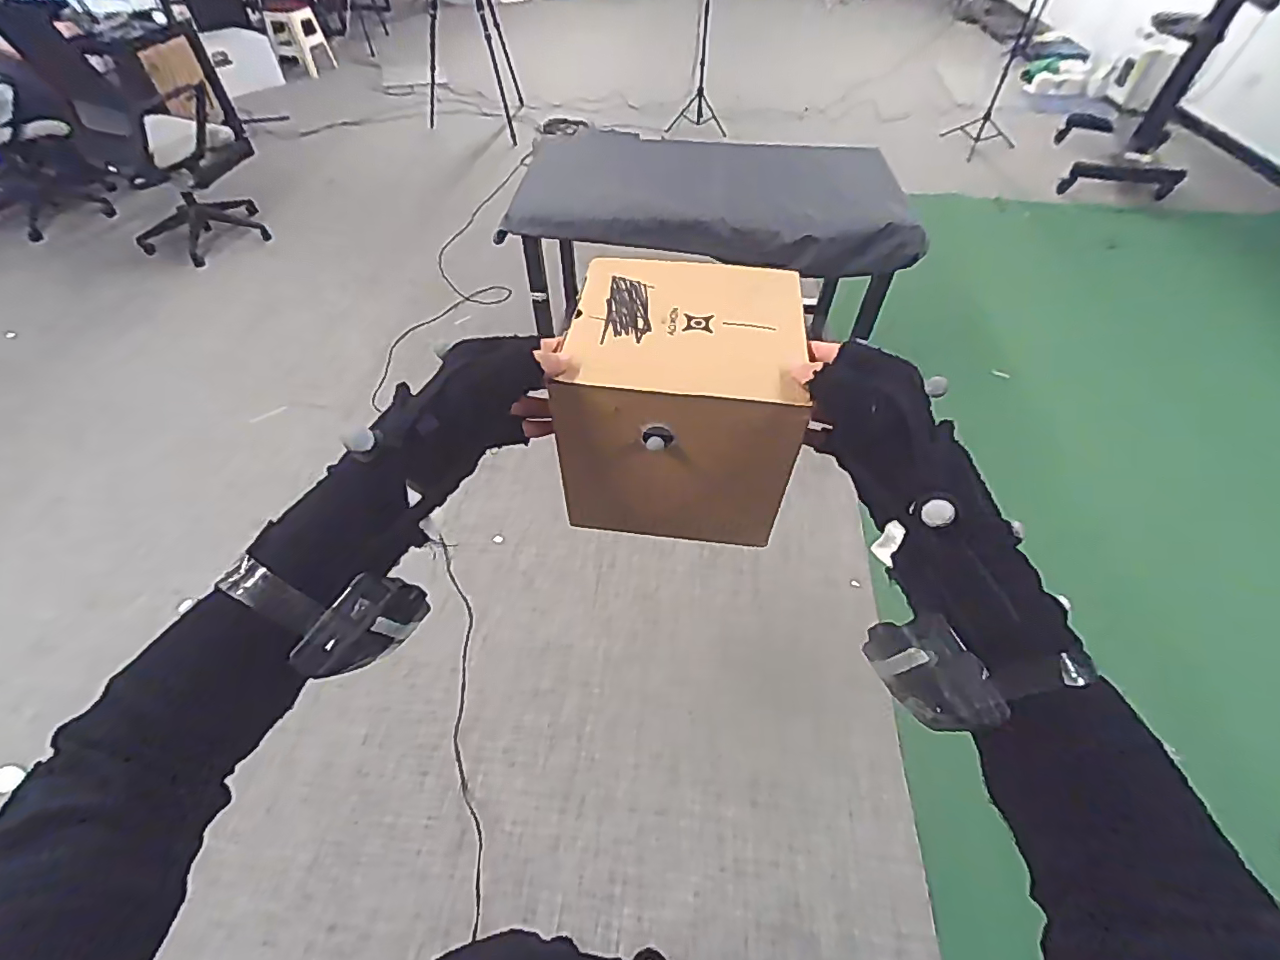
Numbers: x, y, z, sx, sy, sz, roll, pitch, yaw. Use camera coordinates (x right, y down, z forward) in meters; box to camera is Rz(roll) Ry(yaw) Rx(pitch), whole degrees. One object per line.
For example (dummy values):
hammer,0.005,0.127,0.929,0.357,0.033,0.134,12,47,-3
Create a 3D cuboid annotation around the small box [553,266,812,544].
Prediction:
small box,0.036,-0.061,0.467,0.179,0.176,0.168,7,51,4
